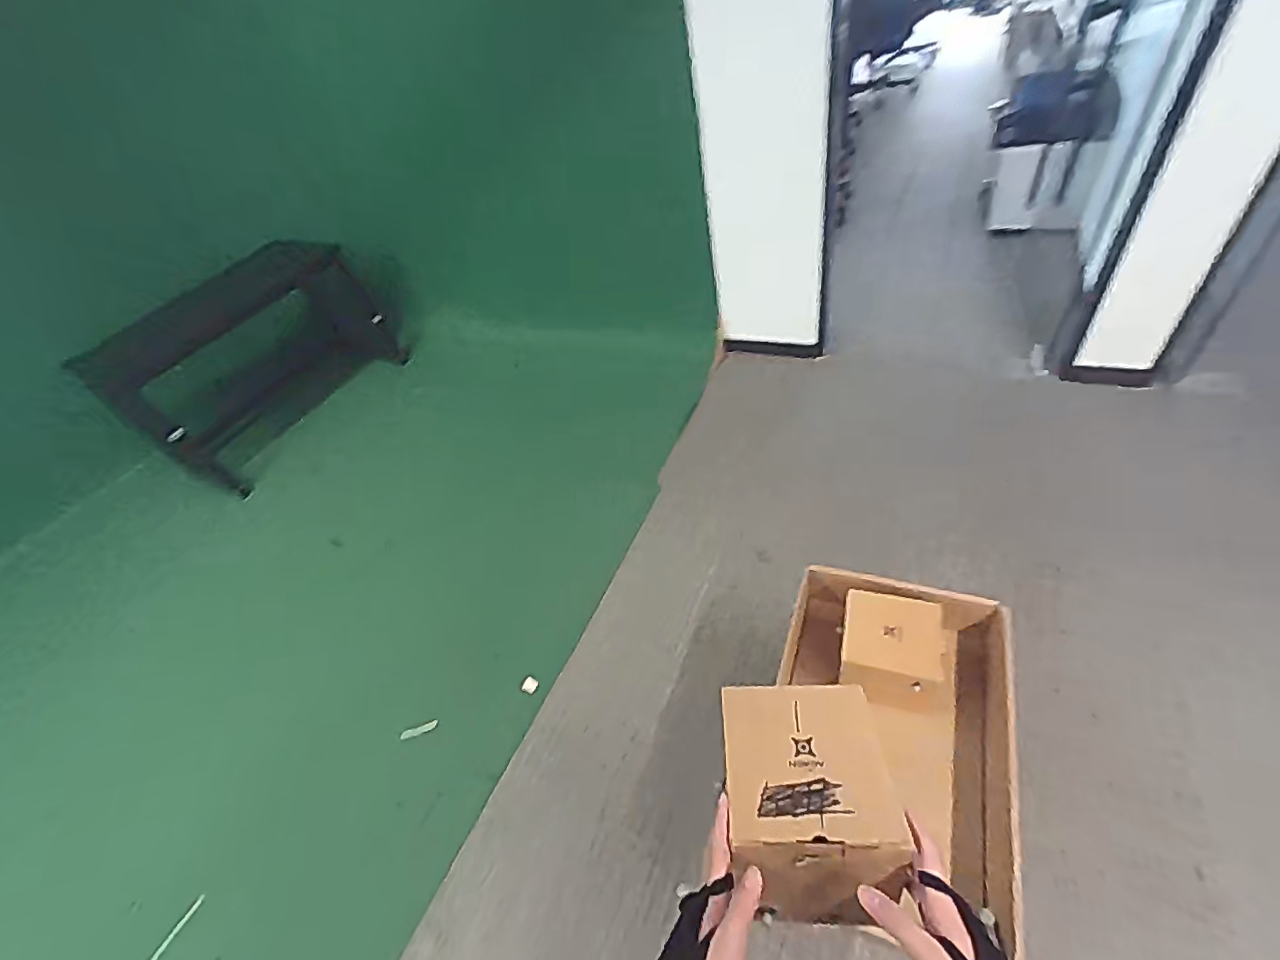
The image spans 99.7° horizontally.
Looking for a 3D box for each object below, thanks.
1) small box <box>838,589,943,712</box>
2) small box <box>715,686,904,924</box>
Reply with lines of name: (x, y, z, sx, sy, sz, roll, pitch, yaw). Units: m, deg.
small box: (0.505, 0.349, 1.103, 0.179, 0.176, 0.168, 7, 49, 21)
small box: (0.174, 0.357, 0.602, 0.168, 0.176, 0.179, -3, 30, 7)
